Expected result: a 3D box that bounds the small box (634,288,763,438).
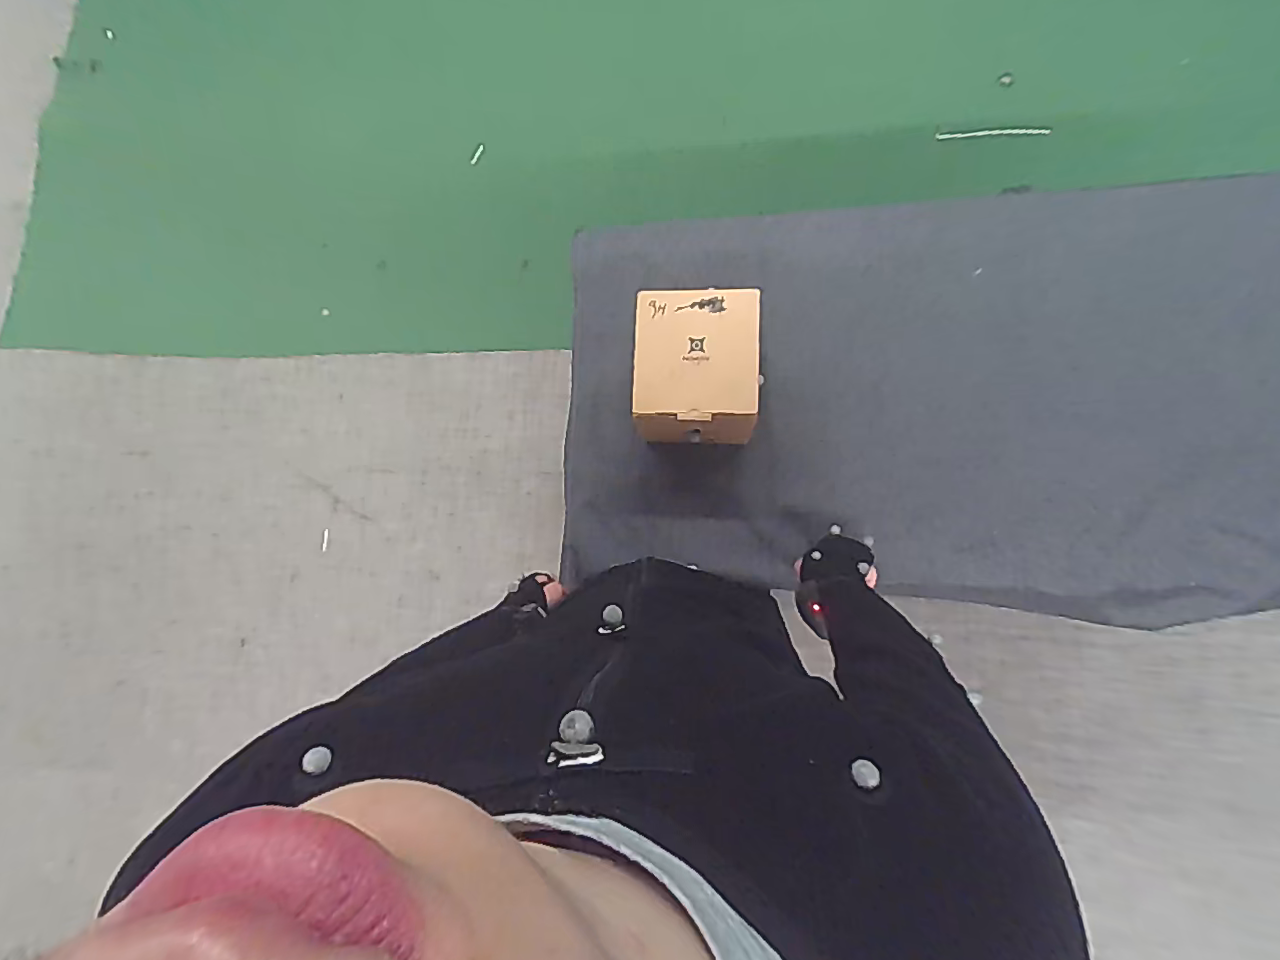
[{"bbox_3d":[0.087,-0.161,0.792,0.168,0.176,0.179,2,83,7],"label":"small box"}]
